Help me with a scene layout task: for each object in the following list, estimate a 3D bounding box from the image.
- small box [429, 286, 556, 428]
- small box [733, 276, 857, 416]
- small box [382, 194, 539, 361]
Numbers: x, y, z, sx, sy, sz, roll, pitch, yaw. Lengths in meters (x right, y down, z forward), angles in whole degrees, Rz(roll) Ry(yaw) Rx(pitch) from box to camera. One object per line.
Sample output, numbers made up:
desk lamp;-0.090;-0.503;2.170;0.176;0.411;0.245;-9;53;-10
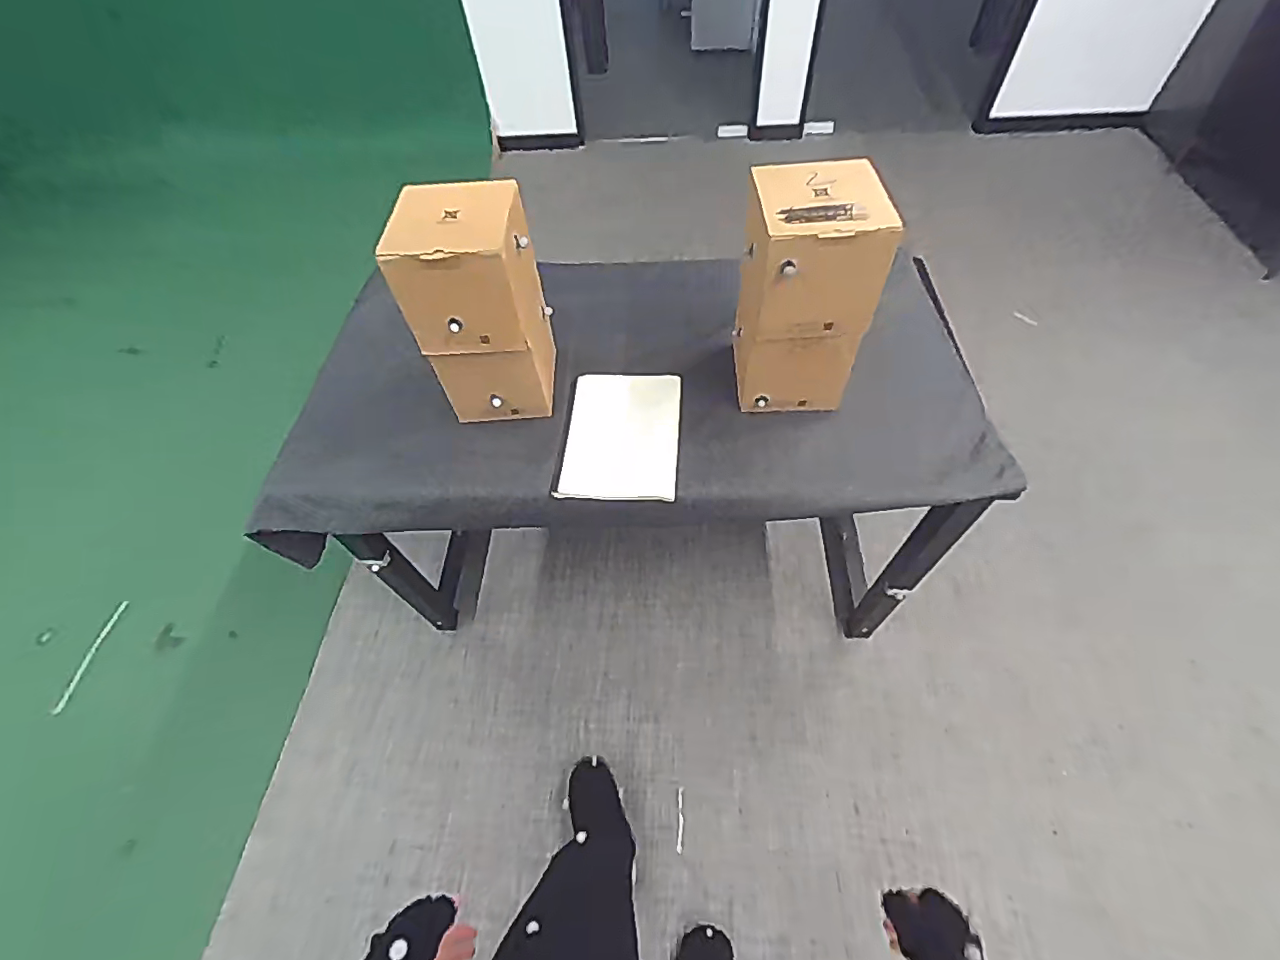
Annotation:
small box;-0.243;-0.212;0.942;0.168;0.176;0.179;-4;55;1
small box;0.252;-0.223;0.923;0.168;0.176;0.179;0;54;3
small box;-0.249;-0.299;0.805;0.168;0.176;0.179;-2;55;1
